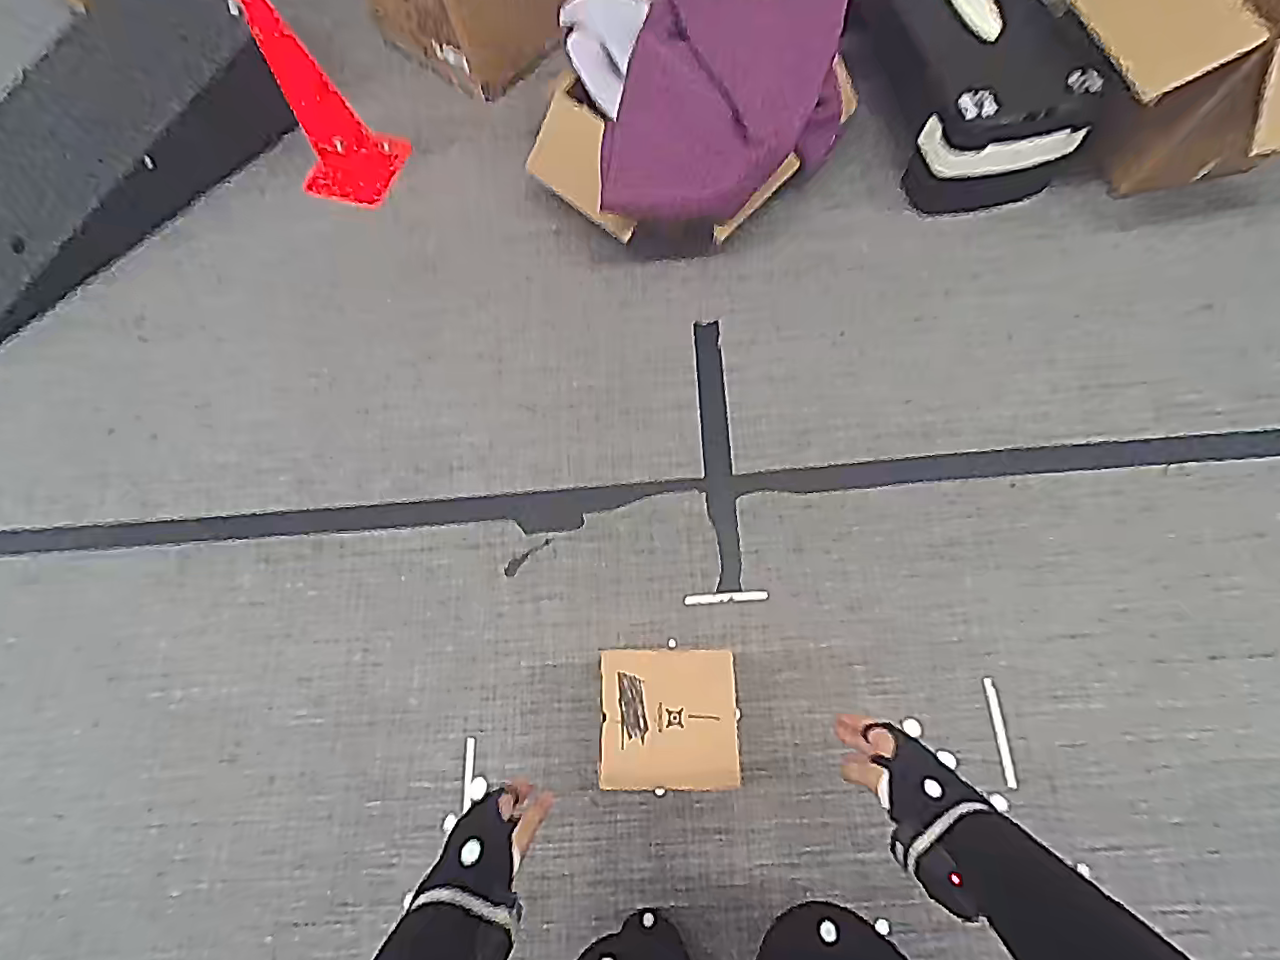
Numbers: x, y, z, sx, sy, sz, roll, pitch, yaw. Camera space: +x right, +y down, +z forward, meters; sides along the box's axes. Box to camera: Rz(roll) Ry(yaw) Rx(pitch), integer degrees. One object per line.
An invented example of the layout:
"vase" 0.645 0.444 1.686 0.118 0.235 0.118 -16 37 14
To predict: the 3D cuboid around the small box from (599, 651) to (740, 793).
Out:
"small box" 0.041 0.331 0.762 0.179 0.176 0.168 -1 72 2
